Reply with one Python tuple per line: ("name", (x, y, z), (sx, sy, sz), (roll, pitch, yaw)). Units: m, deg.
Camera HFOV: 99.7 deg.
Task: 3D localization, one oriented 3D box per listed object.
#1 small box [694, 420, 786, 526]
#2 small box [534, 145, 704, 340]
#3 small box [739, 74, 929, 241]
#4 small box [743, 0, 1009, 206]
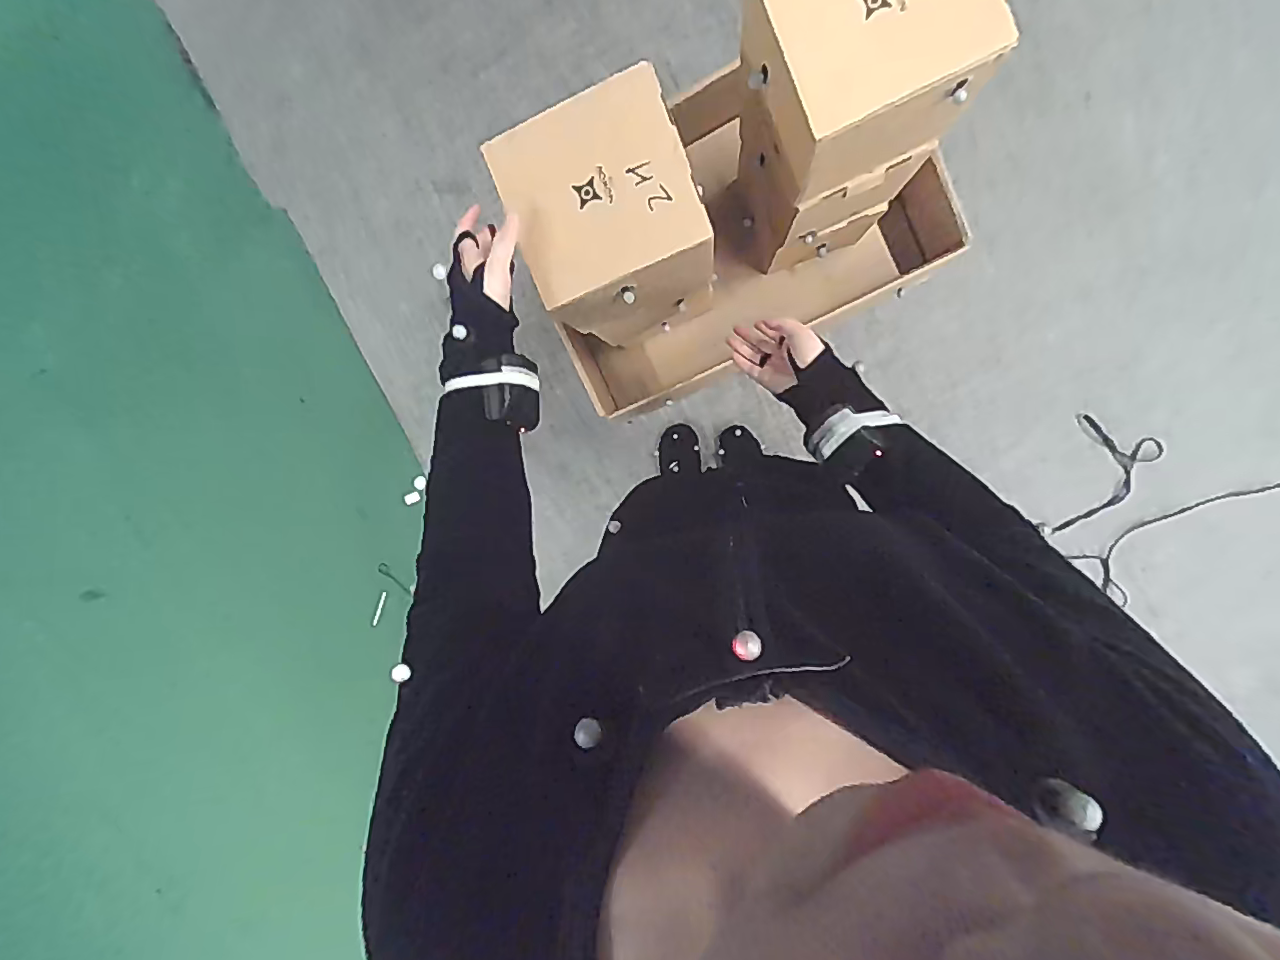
("small box", (0.257, -0.017, 1.391), (0.168, 0.176, 0.179), (29, 64, 29))
("small box", (-0.017, -0.305, 0.744), (0.168, 0.176, 0.179), (-23, 94, 9))
("small box", (0.234, -0.431, 0.695), (0.168, 0.176, 0.179), (-21, 94, 10))
("small box", (0.209, -0.409, 0.536), (0.179, 0.176, 0.168), (-22, 94, 9))
